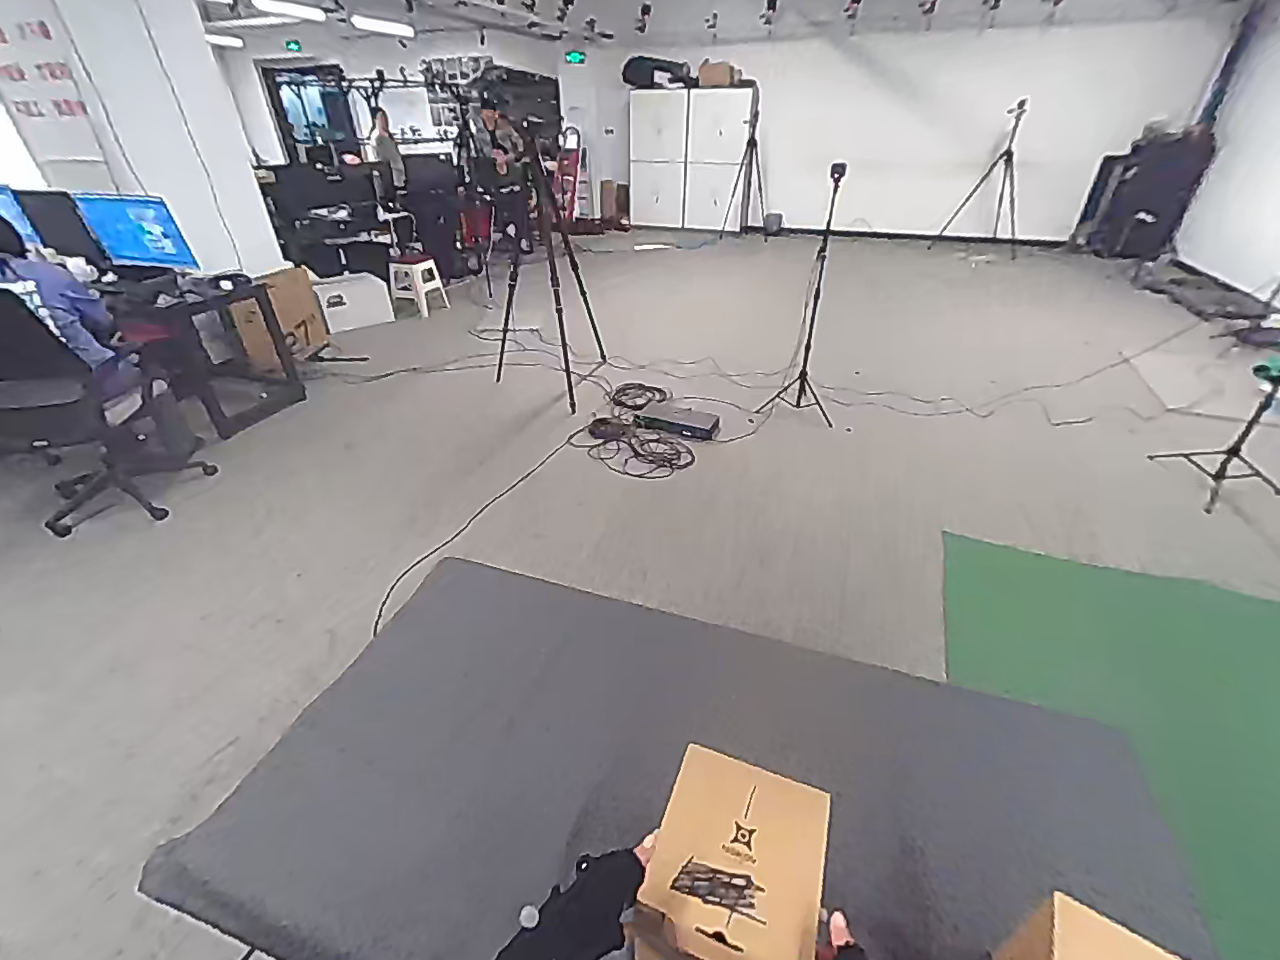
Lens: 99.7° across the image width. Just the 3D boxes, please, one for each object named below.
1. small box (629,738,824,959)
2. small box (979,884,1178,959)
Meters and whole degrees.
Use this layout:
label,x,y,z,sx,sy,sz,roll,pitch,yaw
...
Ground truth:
label,x,y,z,sx,sy,sz,roll,pitch,yaw
small box,0.098,0.437,0.602,0.168,0.176,0.179,13,35,18
small box,0.408,0.524,0.474,0.168,0.176,0.179,21,37,27
